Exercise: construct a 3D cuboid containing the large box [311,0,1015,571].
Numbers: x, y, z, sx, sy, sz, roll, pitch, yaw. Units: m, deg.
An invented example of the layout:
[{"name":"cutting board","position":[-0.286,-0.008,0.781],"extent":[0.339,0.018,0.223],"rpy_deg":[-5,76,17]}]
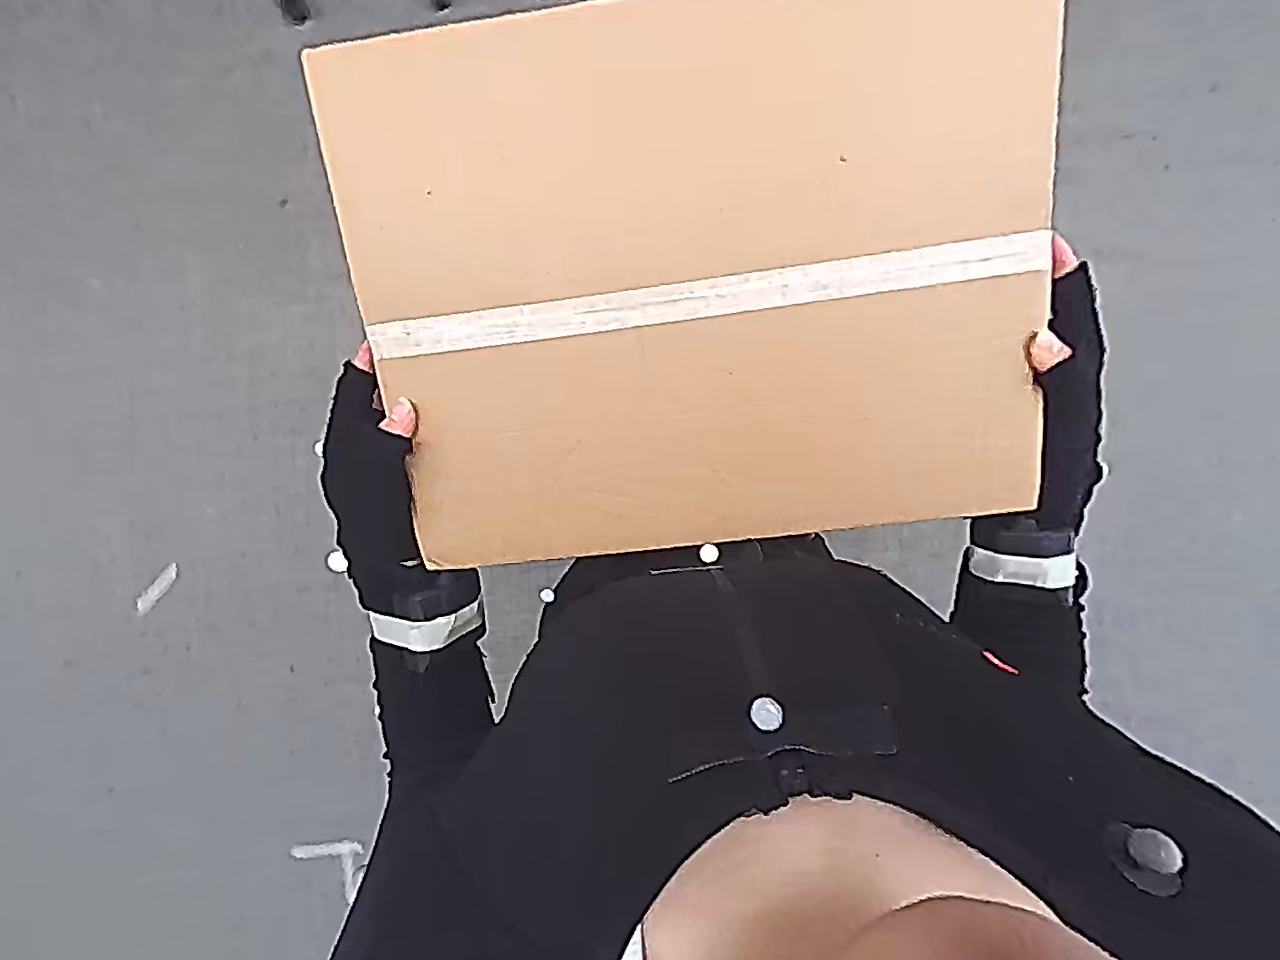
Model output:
[{"name":"large box","position":[0.031,-0.146,0.480],"extent":[0.408,0.320,0.320],"rpy_deg":[-7,104,4]}]
